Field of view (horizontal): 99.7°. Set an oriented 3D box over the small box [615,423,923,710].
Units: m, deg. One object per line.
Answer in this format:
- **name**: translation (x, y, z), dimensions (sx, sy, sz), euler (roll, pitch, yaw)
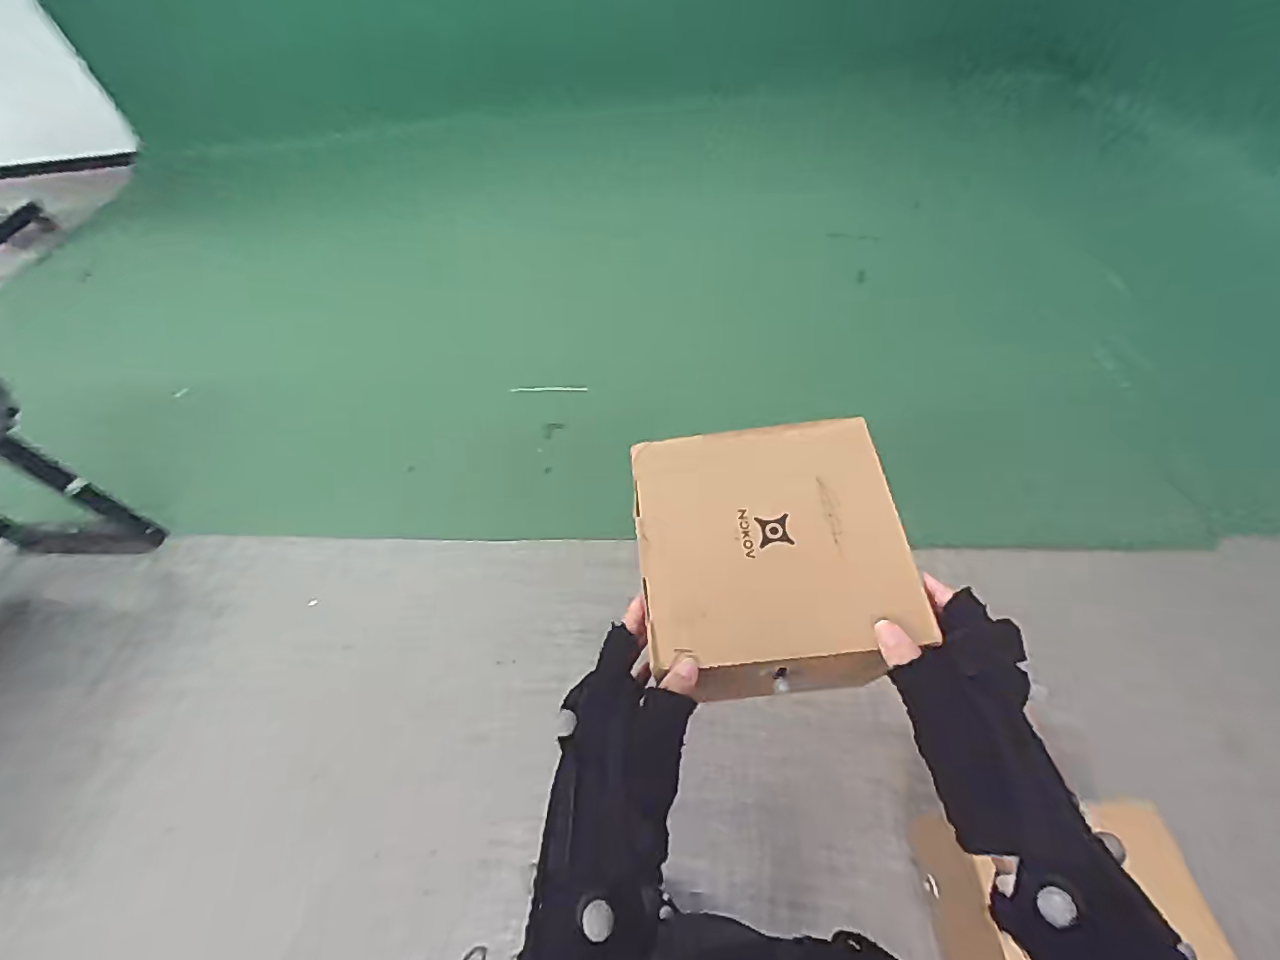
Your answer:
- **small box**: translation (0.082, 0.079, 0.430), dimensions (0.179, 0.176, 0.168), euler (-8, 61, 0)
